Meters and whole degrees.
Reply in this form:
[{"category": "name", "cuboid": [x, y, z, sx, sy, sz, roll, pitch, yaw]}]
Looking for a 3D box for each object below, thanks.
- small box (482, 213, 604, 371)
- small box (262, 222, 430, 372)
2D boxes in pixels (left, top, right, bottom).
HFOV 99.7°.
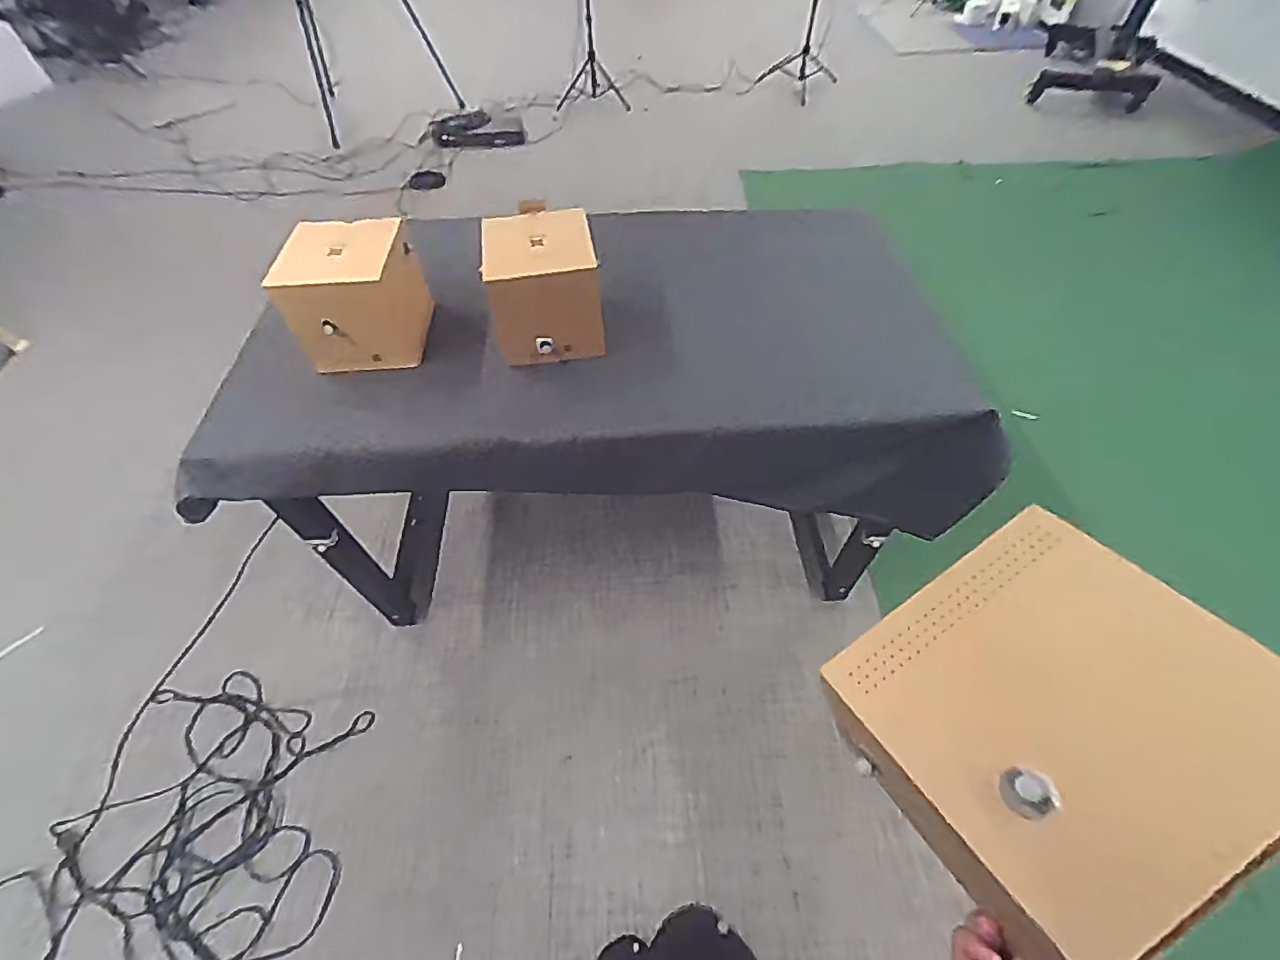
[{"category": "small box", "cuboid": [-0.155, -0.304, 0.881, 0.168, 0.176, 0.179, -10, 54, -5]}, {"category": "small box", "cuboid": [-0.454, -0.288, 0.872, 0.168, 0.176, 0.179, -4, 52, -3]}]
